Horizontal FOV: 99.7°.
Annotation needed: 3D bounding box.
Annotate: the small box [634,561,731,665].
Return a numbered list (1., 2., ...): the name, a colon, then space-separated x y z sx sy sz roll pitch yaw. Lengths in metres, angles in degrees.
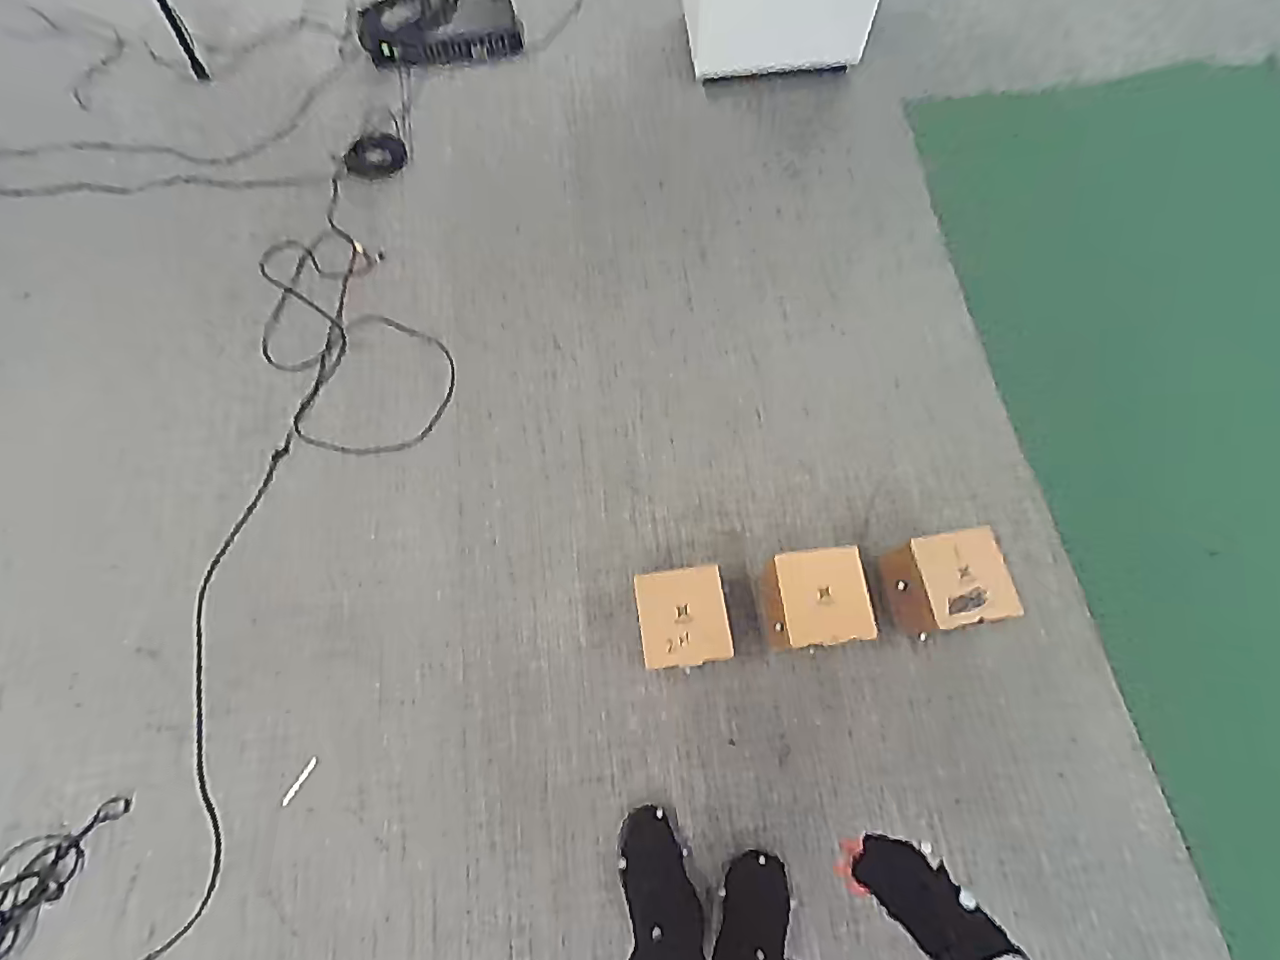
1. small box: 0.080 0.273 1.091 0.168 0.176 0.179 -8 71 0

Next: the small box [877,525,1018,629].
1. small box: 0.612 0.205 1.101 0.168 0.176 0.179 -9 70 -2

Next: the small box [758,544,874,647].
1. small box: 0.345 0.239 1.098 0.168 0.176 0.179 -6 71 -1
